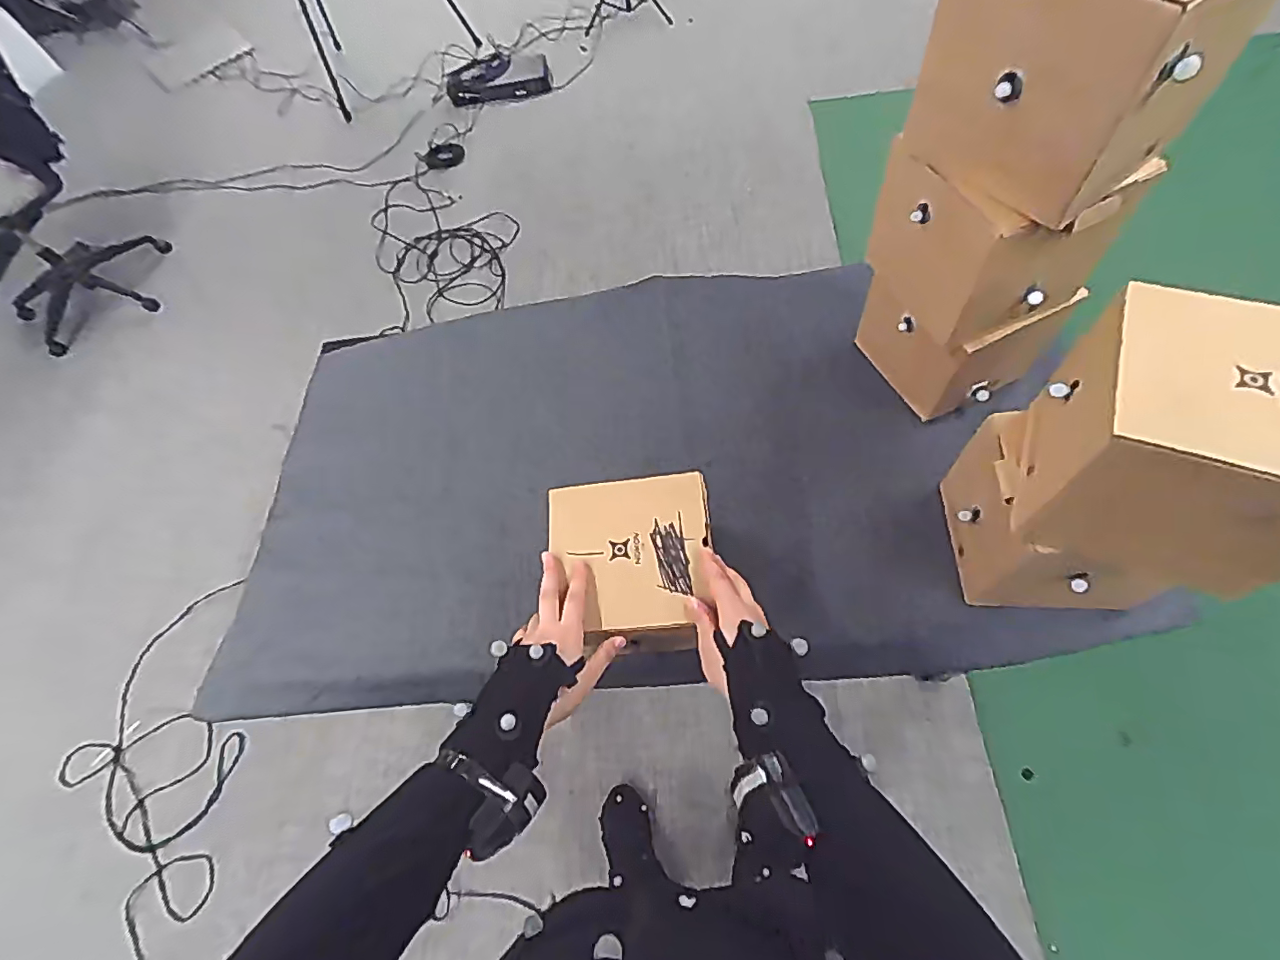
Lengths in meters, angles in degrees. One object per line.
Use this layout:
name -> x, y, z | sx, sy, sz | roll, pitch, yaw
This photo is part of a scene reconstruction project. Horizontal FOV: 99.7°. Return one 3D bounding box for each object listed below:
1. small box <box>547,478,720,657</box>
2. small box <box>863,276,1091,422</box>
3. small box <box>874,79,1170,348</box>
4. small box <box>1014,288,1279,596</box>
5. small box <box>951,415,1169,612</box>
small box -> 0.001, 0.112, 0.639 | 0.179, 0.176, 0.168 | -7, 64, 7
small box -> 0.431, -0.212, 0.734 | 0.168, 0.176, 0.179 | -26, 64, -1
small box -> 0.384, -0.280, 0.590 | 0.168, 0.176, 0.179 | -23, 63, 1
small box -> 0.448, -0.024, 0.448 | 0.179, 0.176, 0.168 | 20, 65, 18
small box -> 0.468, 0.042, 0.597 | 0.179, 0.176, 0.168 | 0, 60, 10
